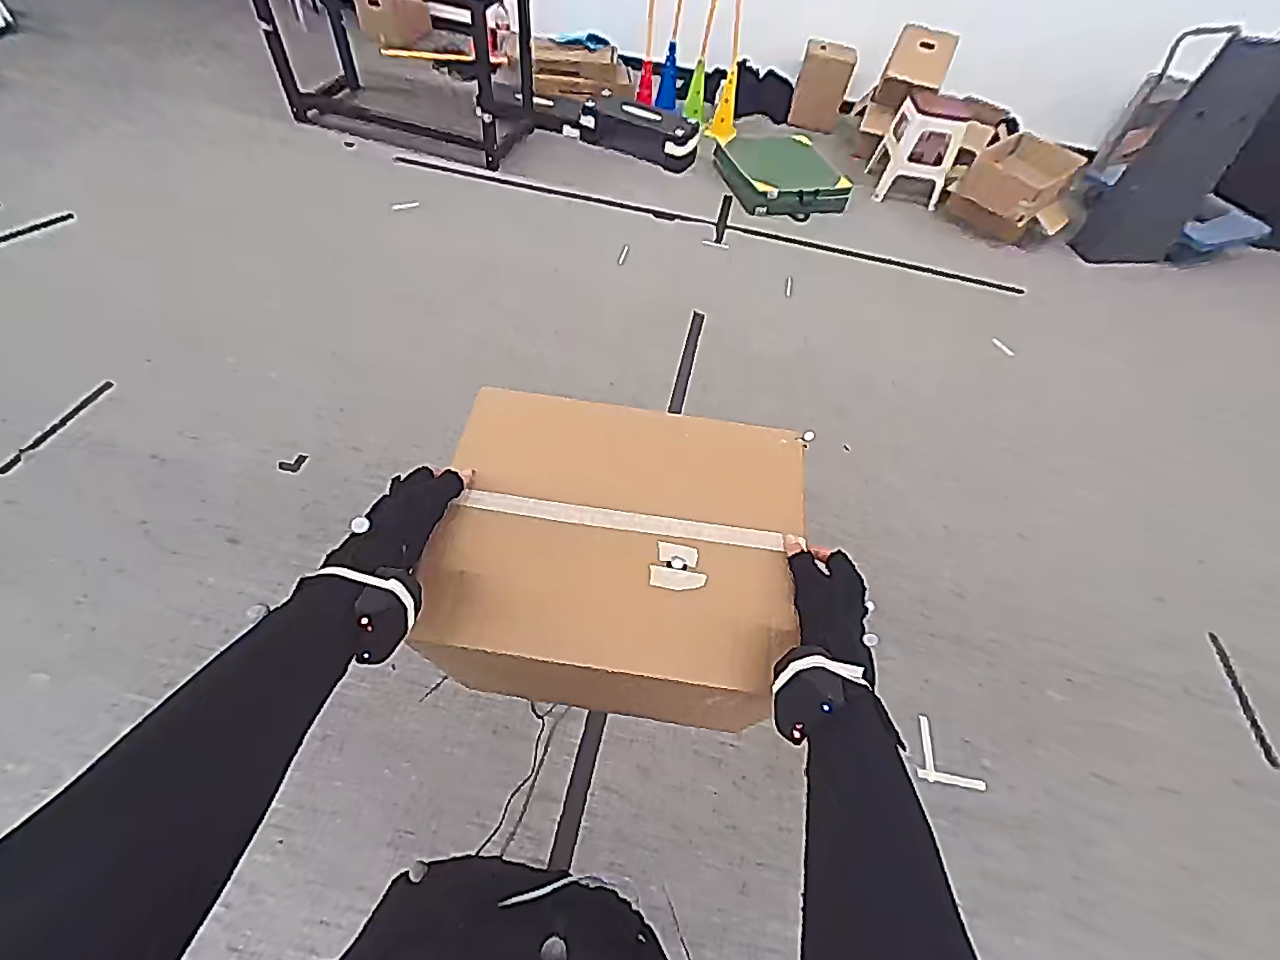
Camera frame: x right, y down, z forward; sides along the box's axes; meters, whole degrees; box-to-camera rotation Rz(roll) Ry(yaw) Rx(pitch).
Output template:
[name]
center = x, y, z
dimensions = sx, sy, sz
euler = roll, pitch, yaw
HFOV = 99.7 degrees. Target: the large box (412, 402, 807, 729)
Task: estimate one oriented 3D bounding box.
[large box]
center = -0.022, 0.131, 0.734
dimensions = 0.408, 0.320, 0.320
euler = 9, 60, 2
